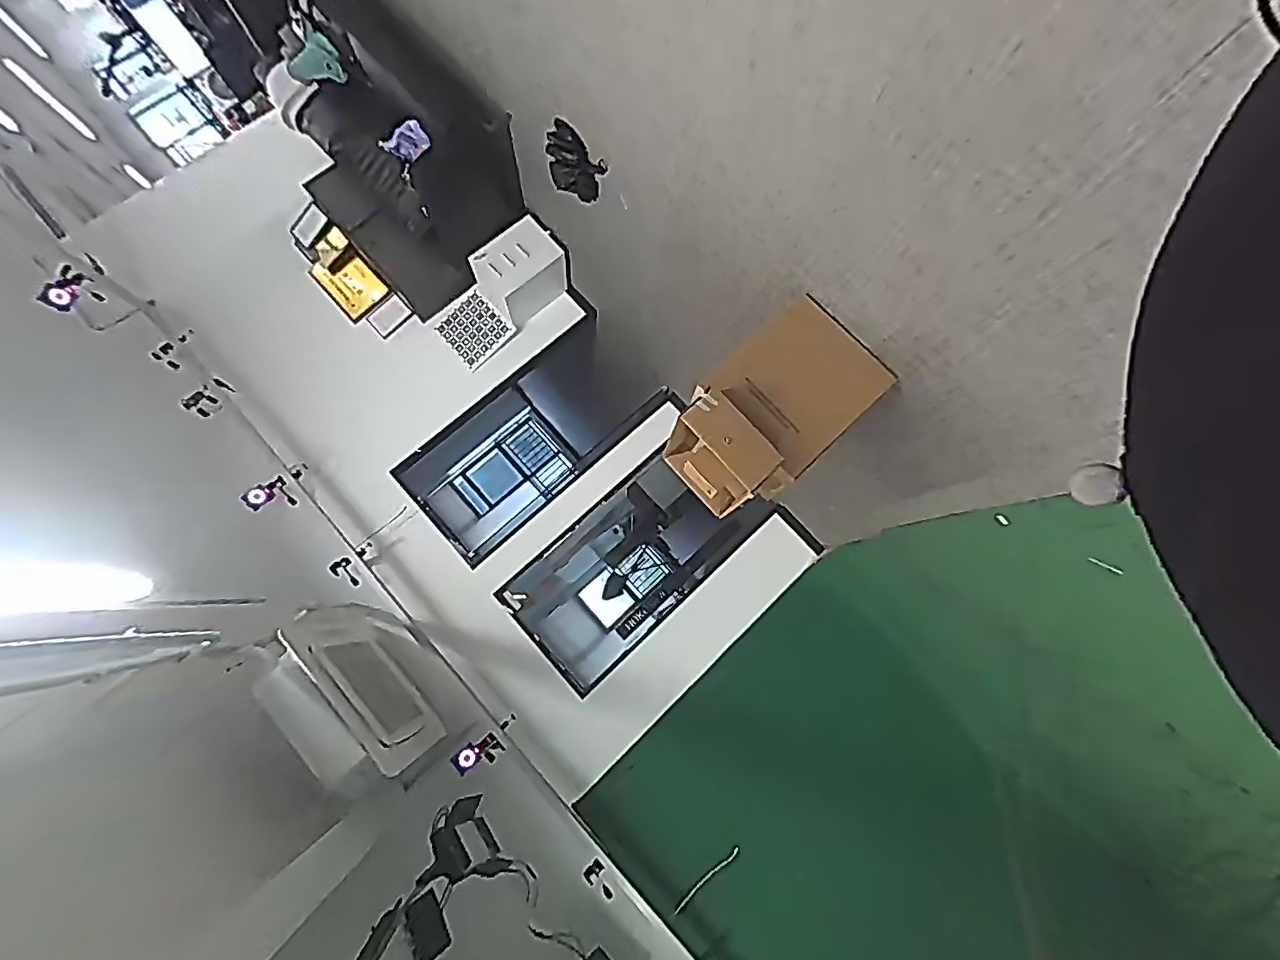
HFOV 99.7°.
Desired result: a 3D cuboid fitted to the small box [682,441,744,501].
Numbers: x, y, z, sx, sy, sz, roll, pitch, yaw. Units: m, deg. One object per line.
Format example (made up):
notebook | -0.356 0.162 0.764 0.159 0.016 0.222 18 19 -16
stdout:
small box | 0.298 -0.042 2.228 0.179 0.176 0.168 49 171 9
